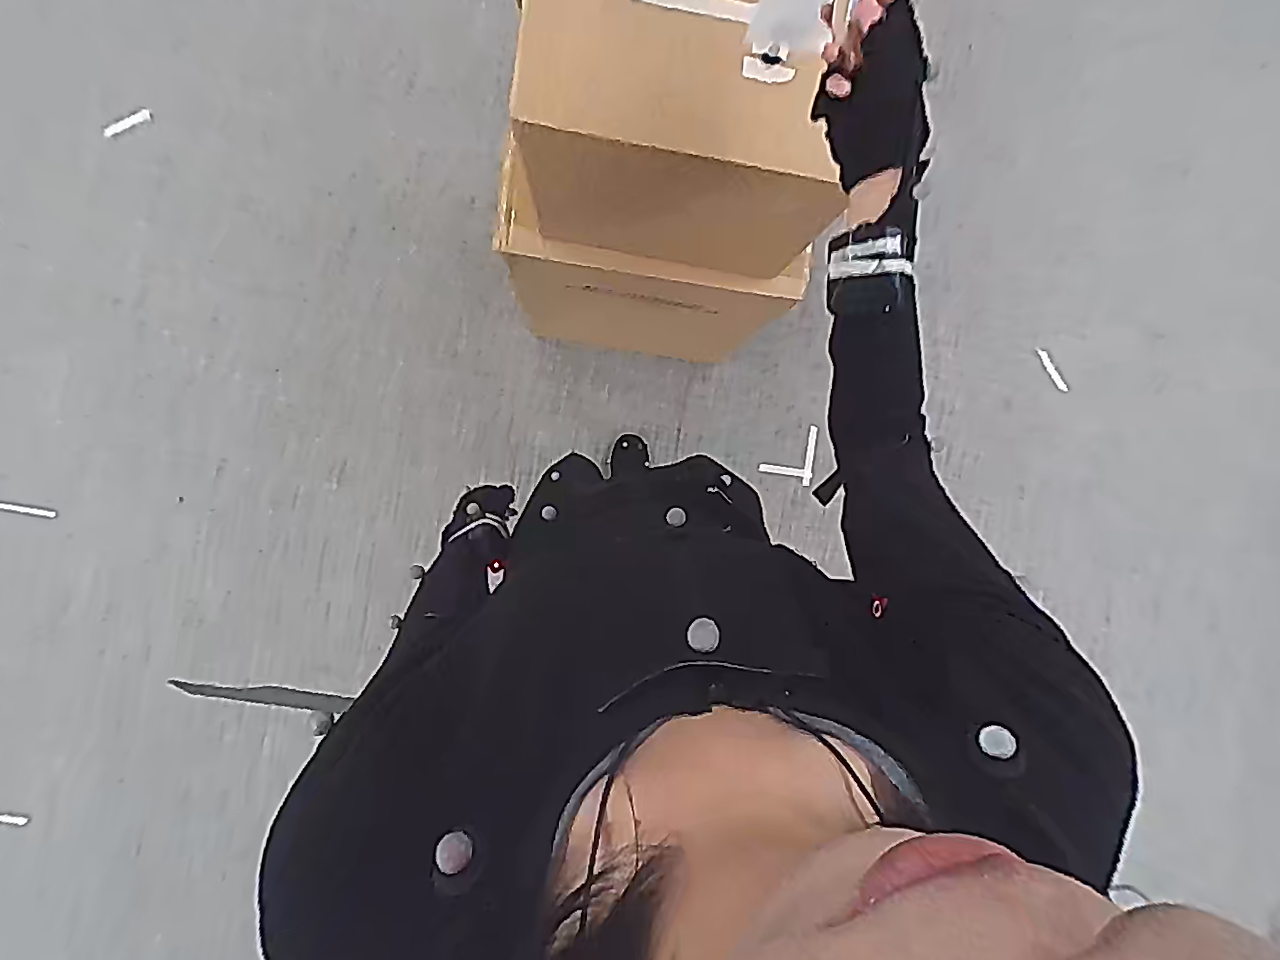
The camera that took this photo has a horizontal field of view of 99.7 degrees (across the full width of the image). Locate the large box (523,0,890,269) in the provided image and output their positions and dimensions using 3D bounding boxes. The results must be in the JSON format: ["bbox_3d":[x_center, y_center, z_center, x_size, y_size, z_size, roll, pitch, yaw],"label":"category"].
[{"bbox_3d":[0.068,-0.523,0.750,0.408,0.320,0.320,7,92,-6],"label":"large box"}]
